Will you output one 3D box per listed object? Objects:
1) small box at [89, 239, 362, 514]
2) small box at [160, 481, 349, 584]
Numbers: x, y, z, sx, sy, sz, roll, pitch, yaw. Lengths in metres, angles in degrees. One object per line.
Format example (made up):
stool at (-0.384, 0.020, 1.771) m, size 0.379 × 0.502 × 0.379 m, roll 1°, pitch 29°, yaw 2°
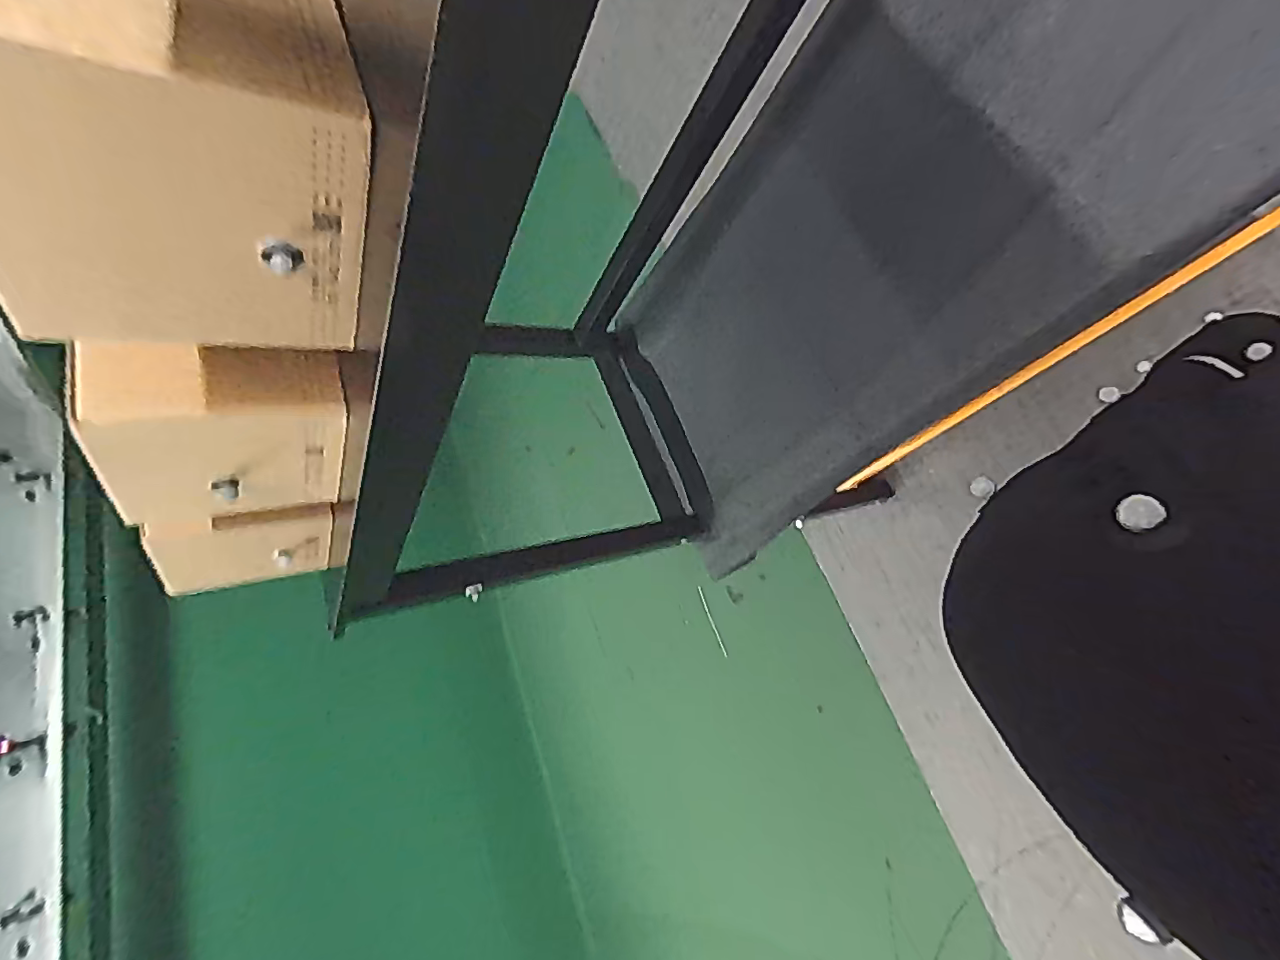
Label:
small box at (-0.365, -0.089, 0.500) m, size 0.168 × 0.176 × 0.179 m, roll -45°, pitch 59°, yaw 49°
small box at (-0.476, 0.007, 0.672) m, size 0.168 × 0.176 × 0.179 m, roll -45°, pitch 61°, yaw 48°
